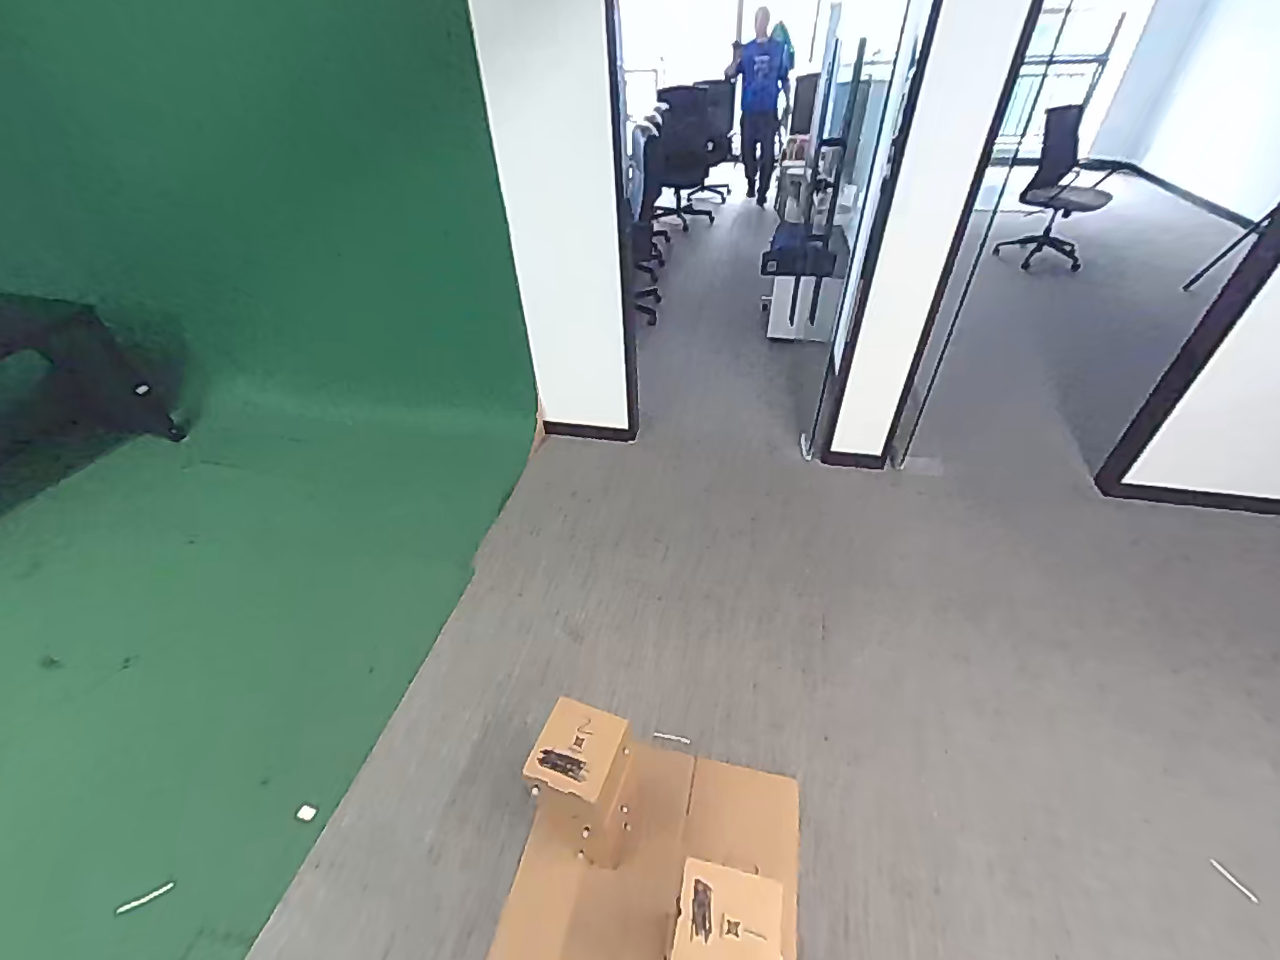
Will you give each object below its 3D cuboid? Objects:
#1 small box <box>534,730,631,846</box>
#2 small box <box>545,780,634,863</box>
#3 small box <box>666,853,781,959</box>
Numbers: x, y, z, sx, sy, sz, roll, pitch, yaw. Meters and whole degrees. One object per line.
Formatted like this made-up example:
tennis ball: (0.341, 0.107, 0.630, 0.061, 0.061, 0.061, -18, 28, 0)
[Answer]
small box: (-0.127, 0.734, 1.284, 0.179, 0.176, 0.168, 13, 43, 17)
small box: (-0.124, 0.854, 1.398, 0.179, 0.176, 0.168, 14, 43, 17)
small box: (0.148, 0.799, 0.957, 0.179, 0.176, 0.168, 7, 43, 12)
